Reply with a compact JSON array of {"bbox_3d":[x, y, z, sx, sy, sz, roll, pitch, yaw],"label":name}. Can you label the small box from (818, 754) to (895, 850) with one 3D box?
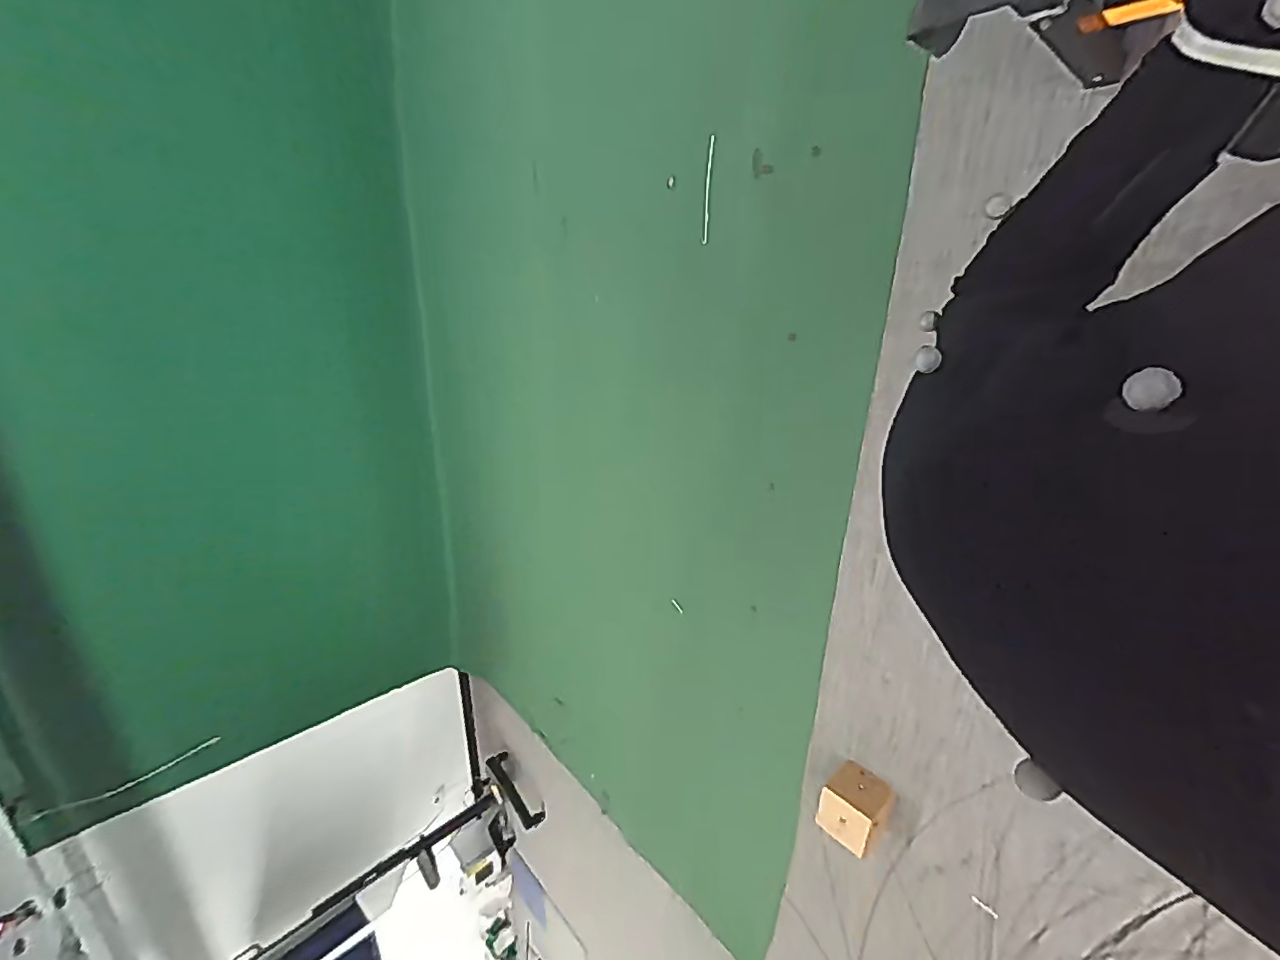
[{"bbox_3d":[0.720,1.057,1.791,0.168,0.176,0.179,23,120,44],"label":"small box"}]
